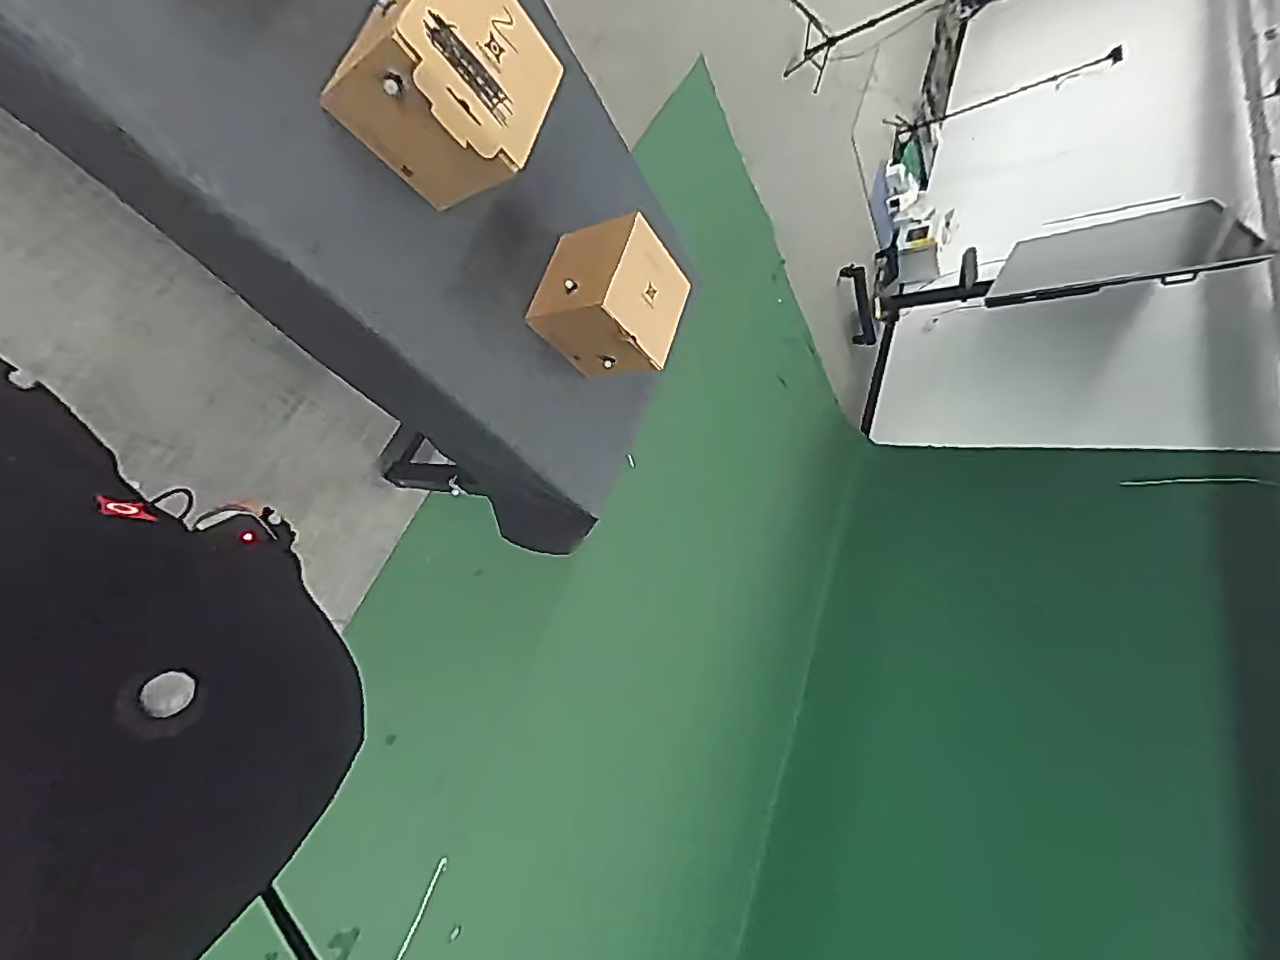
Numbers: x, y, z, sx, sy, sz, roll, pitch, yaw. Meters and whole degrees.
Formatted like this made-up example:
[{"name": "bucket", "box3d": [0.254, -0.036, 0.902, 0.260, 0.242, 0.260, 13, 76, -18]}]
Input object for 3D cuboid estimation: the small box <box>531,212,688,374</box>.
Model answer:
[{"name": "small box", "box3d": [-0.050, -0.287, 0.872, 0.168, 0.176, 0.179, 38, 62, -48]}]
